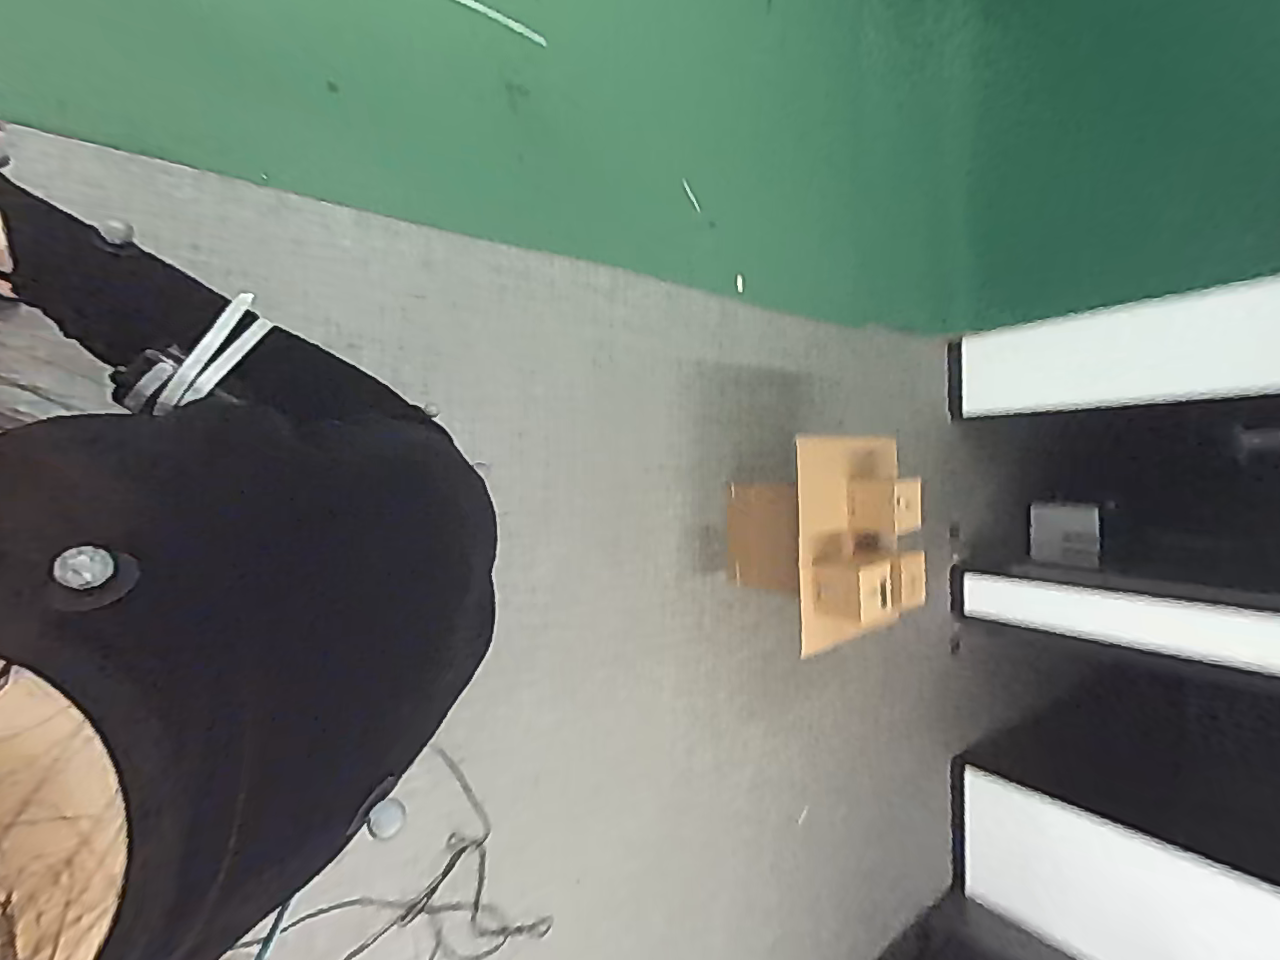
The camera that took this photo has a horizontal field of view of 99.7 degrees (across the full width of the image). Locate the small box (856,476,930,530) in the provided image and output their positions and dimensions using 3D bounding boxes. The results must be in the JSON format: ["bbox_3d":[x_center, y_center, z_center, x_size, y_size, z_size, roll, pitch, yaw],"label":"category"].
[{"bbox_3d":[0.848,0.073,1.815,0.179,0.176,0.168,-5,92,-37],"label":"small box"}]
